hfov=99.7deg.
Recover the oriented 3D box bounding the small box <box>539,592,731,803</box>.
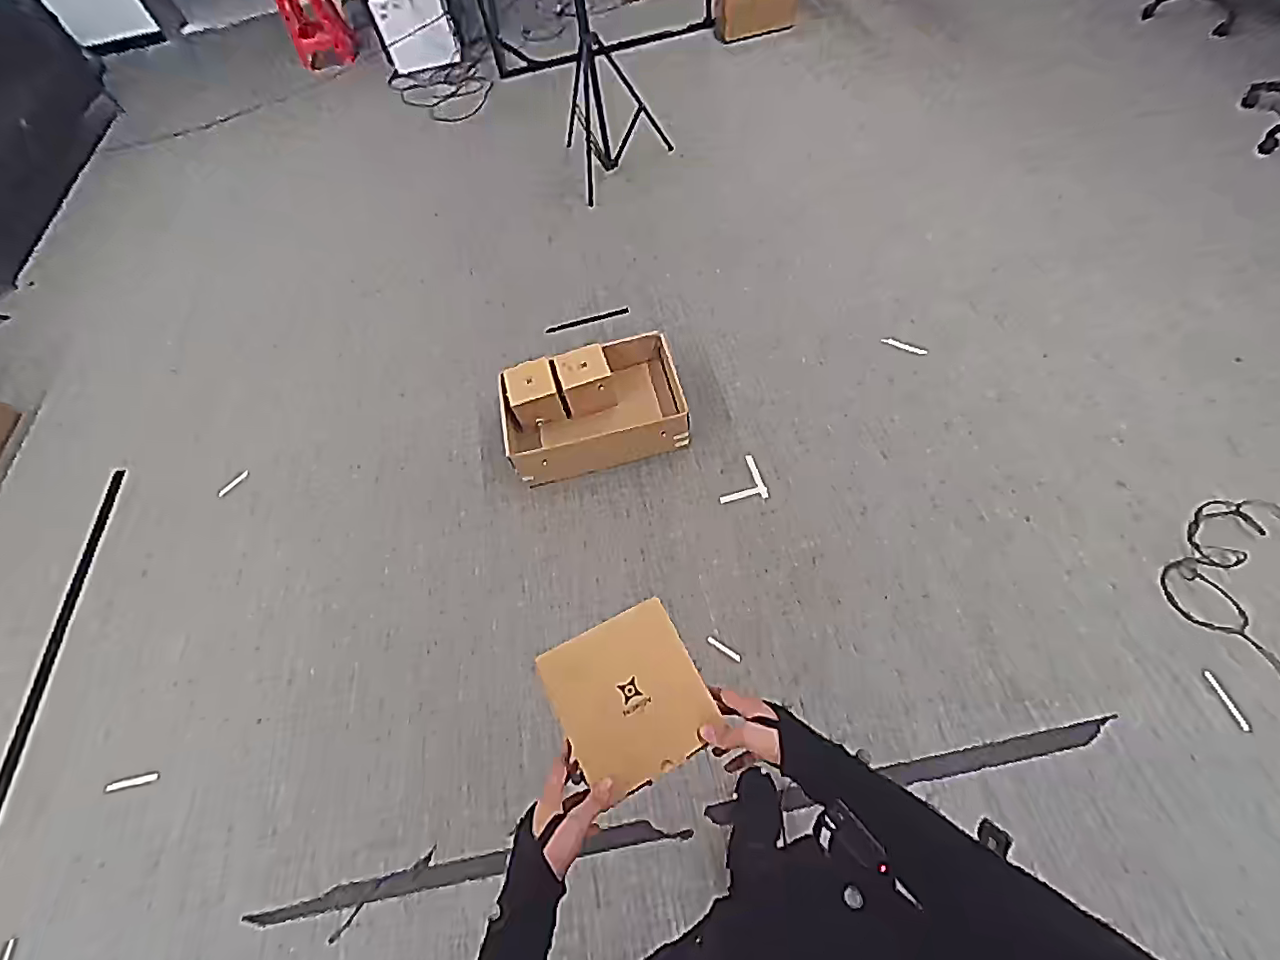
[{"bbox_3d":[-0.018,0.271,0.678,0.168,0.176,0.179,-23,69,-18],"label":"small box"}]

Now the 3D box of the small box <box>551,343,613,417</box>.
[{"bbox_3d":[-0.201,-0.354,1.939,0.179,0.176,0.168,-19,59,-4],"label":"small box"}]
